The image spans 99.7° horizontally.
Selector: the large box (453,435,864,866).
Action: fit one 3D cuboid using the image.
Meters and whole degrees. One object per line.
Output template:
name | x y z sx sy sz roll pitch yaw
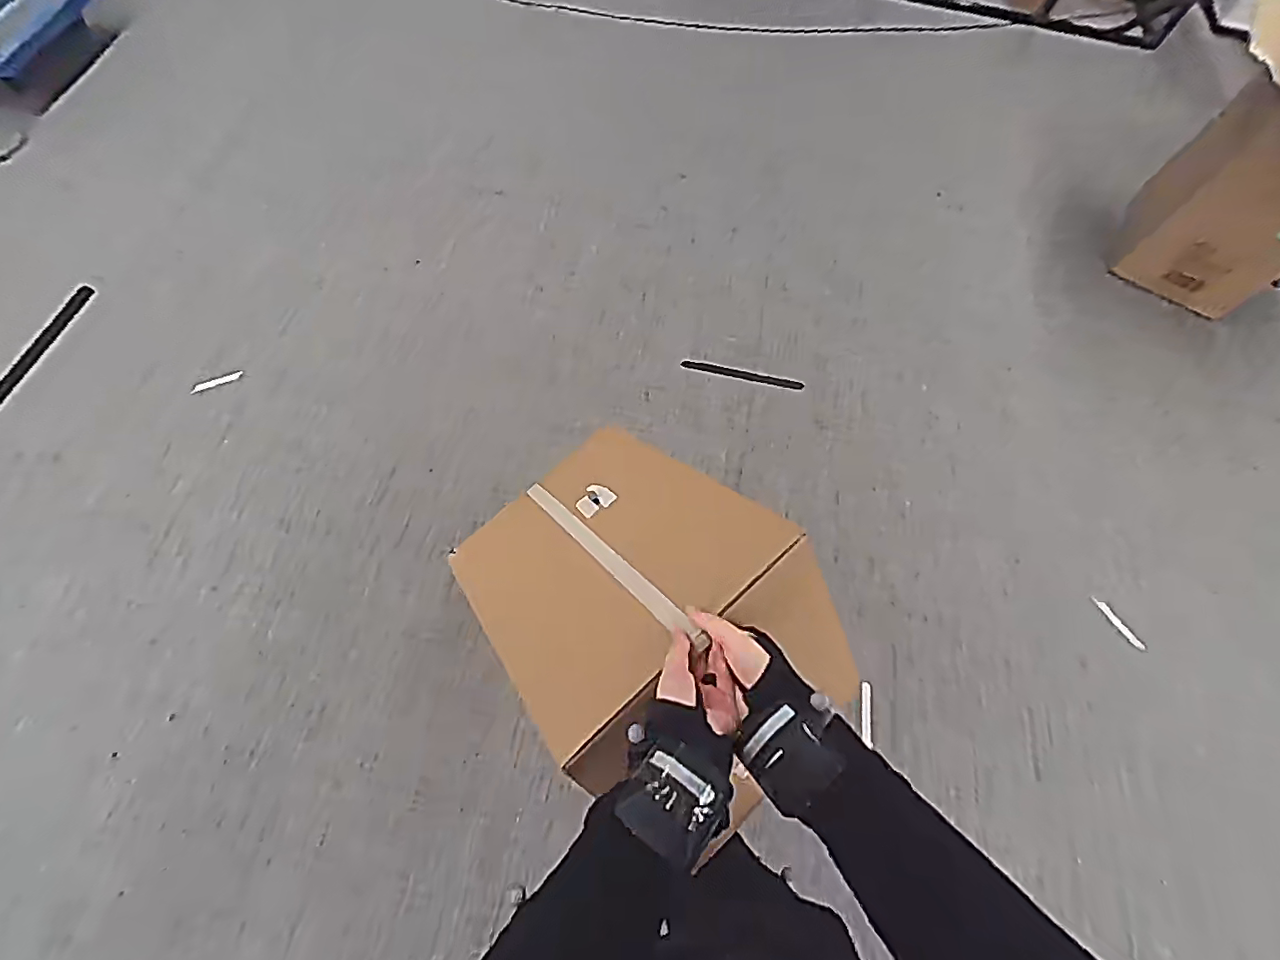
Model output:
large box | 0.014 0.190 0.728 0.320 0.320 0.408 -40 35 -14
